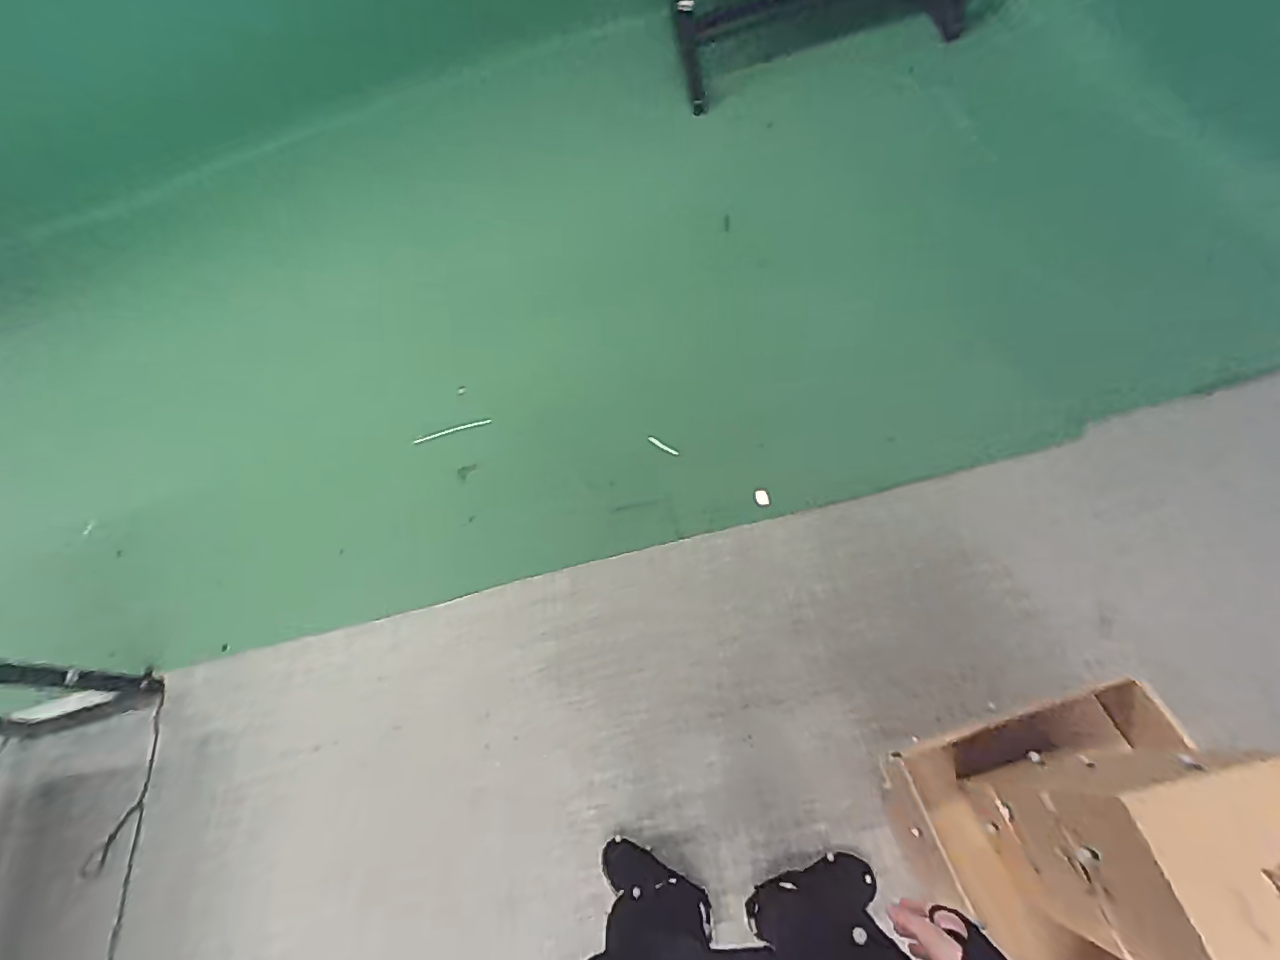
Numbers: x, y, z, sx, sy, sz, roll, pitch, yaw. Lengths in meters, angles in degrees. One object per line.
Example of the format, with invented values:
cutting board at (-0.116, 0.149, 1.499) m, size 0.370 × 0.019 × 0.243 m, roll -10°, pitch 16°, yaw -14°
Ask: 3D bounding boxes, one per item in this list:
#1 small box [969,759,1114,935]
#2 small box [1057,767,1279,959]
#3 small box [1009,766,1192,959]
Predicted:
small box at (0.620, 0.527, 0.796) m, size 0.179 × 0.176 × 0.168 m, roll -20°, pitch 60°, yaw 2°
small box at (0.557, 0.378, 0.511) m, size 0.179 × 0.176 × 0.168 m, roll -15°, pitch 61°, yaw 5°
small box at (0.588, 0.455, 0.652) m, size 0.179 × 0.176 × 0.168 m, roll -16°, pitch 61°, yaw 4°
